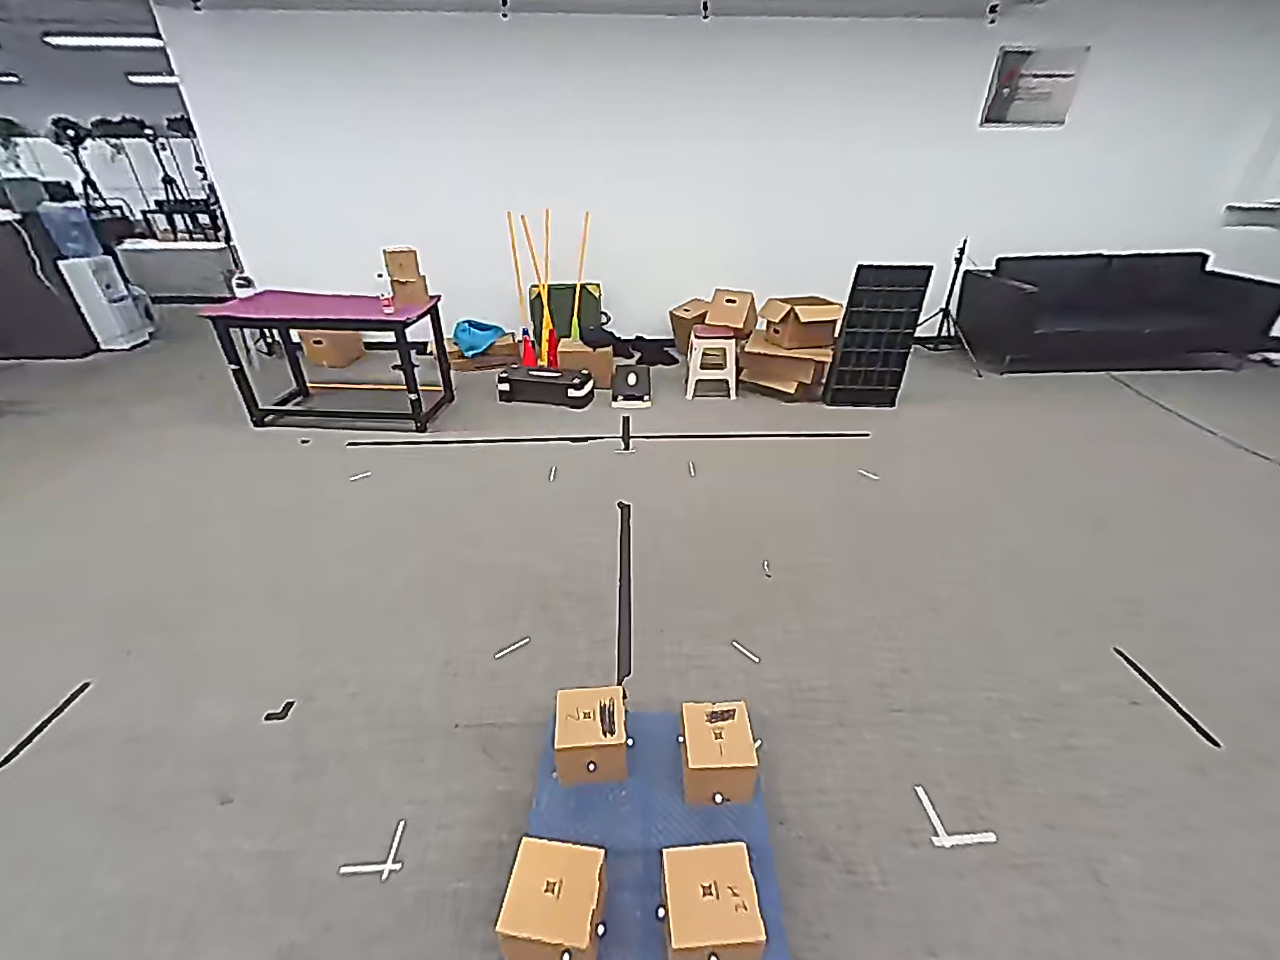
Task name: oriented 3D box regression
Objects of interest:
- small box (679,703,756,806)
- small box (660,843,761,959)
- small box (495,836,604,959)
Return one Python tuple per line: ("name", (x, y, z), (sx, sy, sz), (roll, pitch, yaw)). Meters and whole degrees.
("small box", (0.190, 0.695, 1.374), (0.168, 0.176, 0.179), (-1, 32, -1))
("small box", (0.133, 0.867, 1.088), (0.179, 0.176, 0.168), (-2, 31, -3))
("small box", (-0.173, 0.863, 1.095), (0.179, 0.176, 0.168), (5, 31, 6))
